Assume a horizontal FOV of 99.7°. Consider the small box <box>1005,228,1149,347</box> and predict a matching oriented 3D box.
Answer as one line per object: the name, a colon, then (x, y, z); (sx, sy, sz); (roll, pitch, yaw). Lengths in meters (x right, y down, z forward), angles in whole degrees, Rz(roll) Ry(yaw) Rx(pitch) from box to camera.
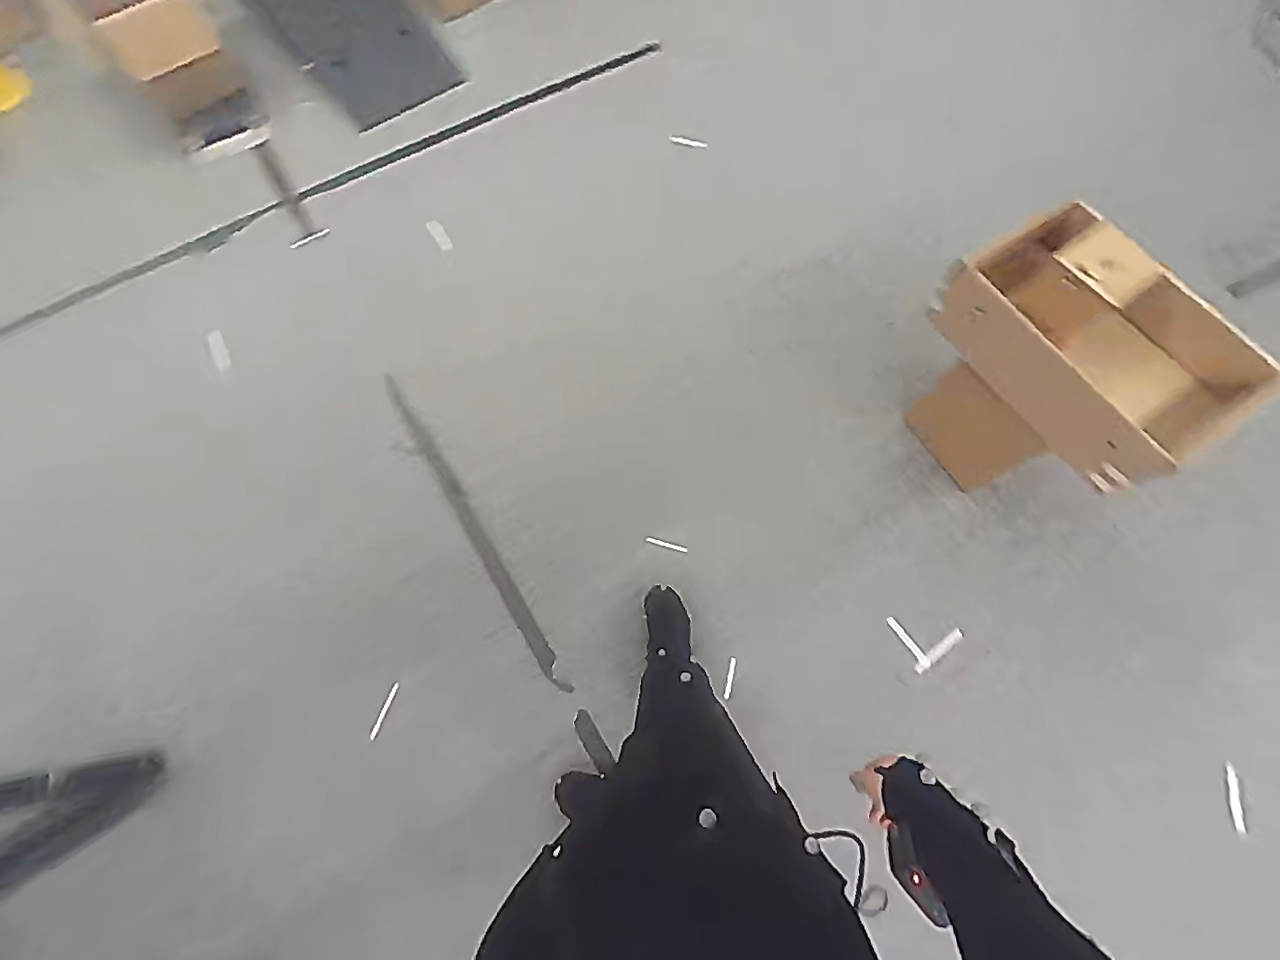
small box: (1.037, -0.458, 1.301); (0.179, 0.176, 0.168); (-34, 74, -13)
